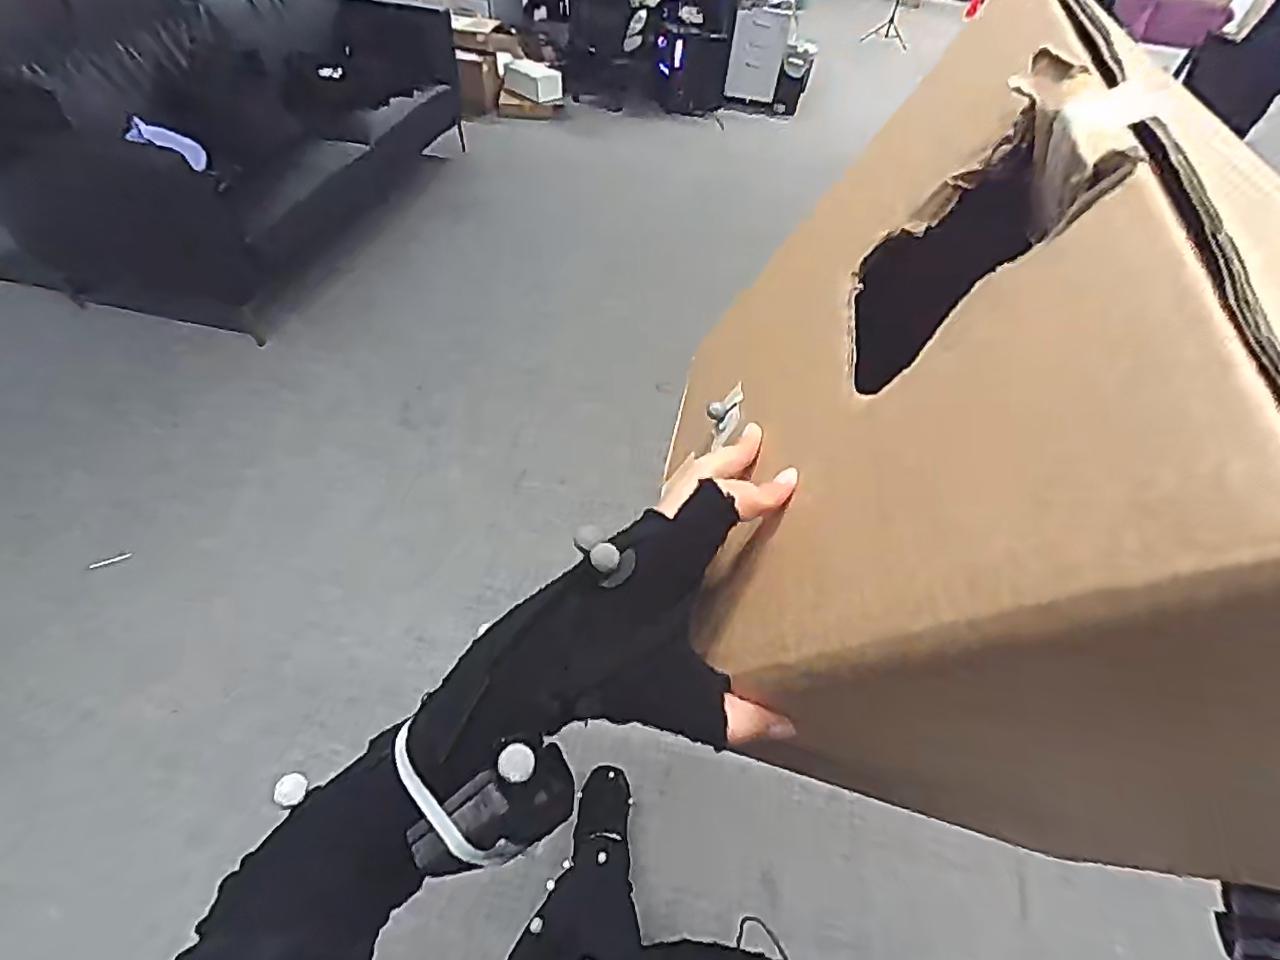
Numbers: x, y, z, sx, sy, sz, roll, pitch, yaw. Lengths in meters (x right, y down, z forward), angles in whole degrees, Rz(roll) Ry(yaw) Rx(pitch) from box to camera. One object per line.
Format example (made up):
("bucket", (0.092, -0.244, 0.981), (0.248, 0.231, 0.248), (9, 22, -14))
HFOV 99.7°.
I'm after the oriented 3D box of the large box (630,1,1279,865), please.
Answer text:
("large box", (0.254, 0.030, 0.350), (0.408, 0.320, 0.320), (25, 57, -15))
